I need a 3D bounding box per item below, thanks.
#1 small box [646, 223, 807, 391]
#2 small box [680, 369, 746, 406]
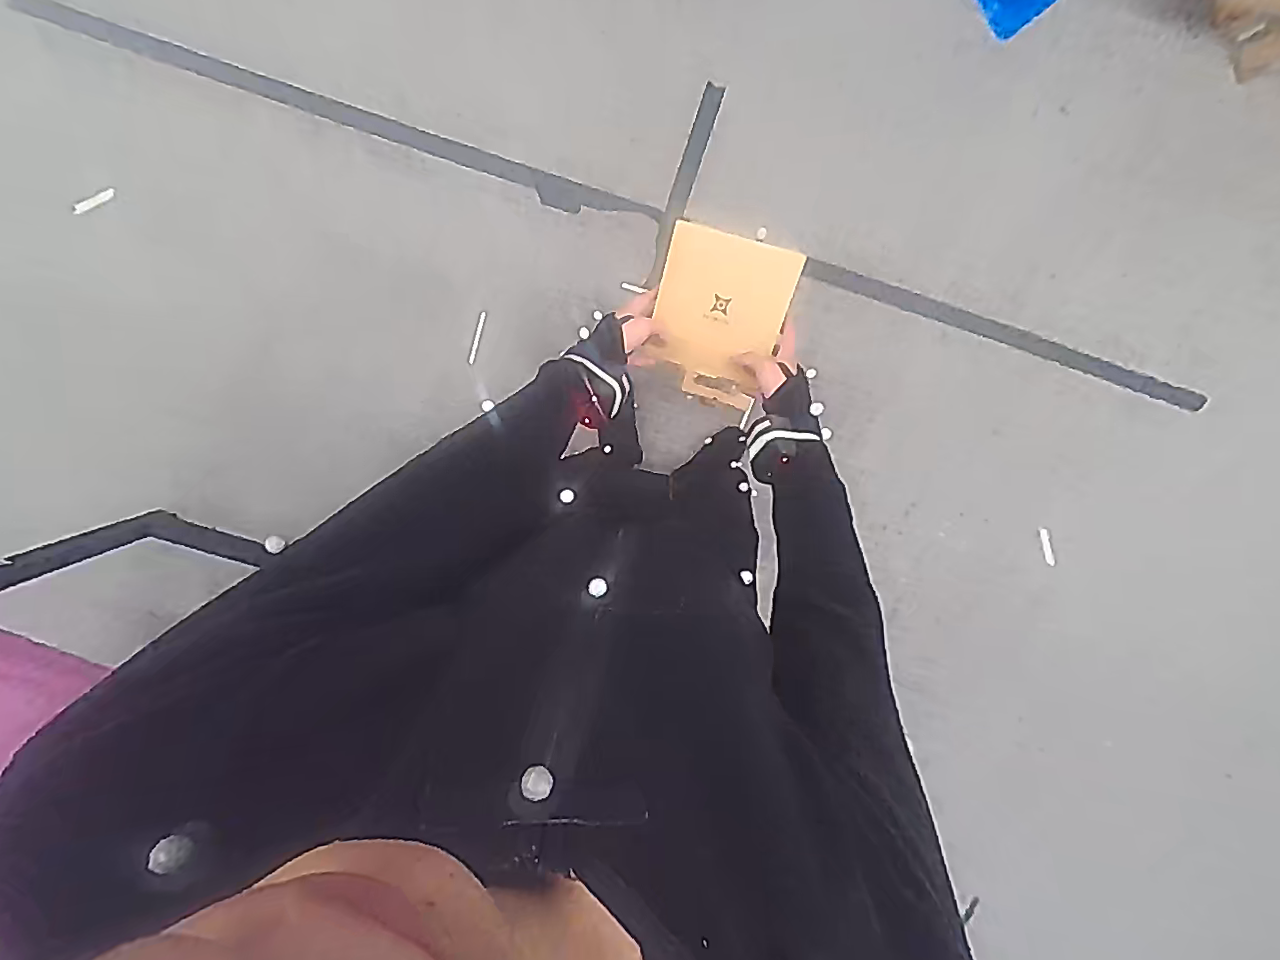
[{"bbox_3d":[0.119,-0.250,0.762,0.168,0.176,0.179,17,118,4],"label":"small box"},{"bbox_3d":[0.208,-0.313,1.462,0.168,0.176,0.179,15,104,-2],"label":"small box"}]
